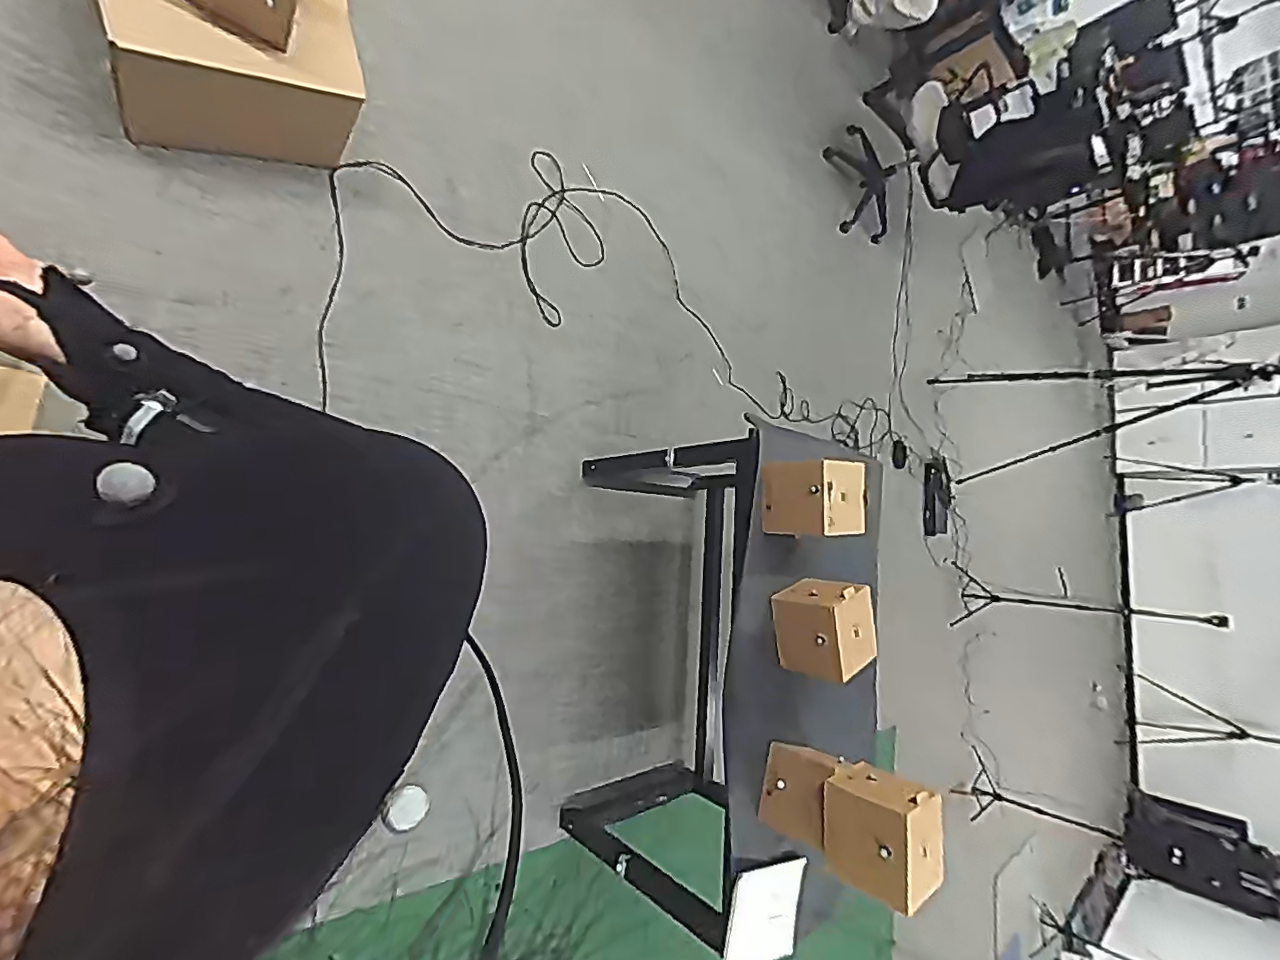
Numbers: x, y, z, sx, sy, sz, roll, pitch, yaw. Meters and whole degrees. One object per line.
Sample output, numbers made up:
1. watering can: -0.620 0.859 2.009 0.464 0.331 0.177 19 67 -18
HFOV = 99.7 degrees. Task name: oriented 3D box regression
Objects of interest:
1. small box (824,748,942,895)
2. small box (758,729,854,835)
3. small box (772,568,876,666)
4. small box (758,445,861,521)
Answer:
1. small box: 0.483 0.670 1.085 0.168 0.176 0.179 7 82 -41
2. small box: 0.397 0.678 1.225 0.179 0.176 0.168 27 69 -36
3. small box: 0.431 0.311 1.281 0.168 0.176 0.179 -14 97 -39
4. small box: 0.398 0.010 1.269 0.179 0.176 0.168 1 87 -40
